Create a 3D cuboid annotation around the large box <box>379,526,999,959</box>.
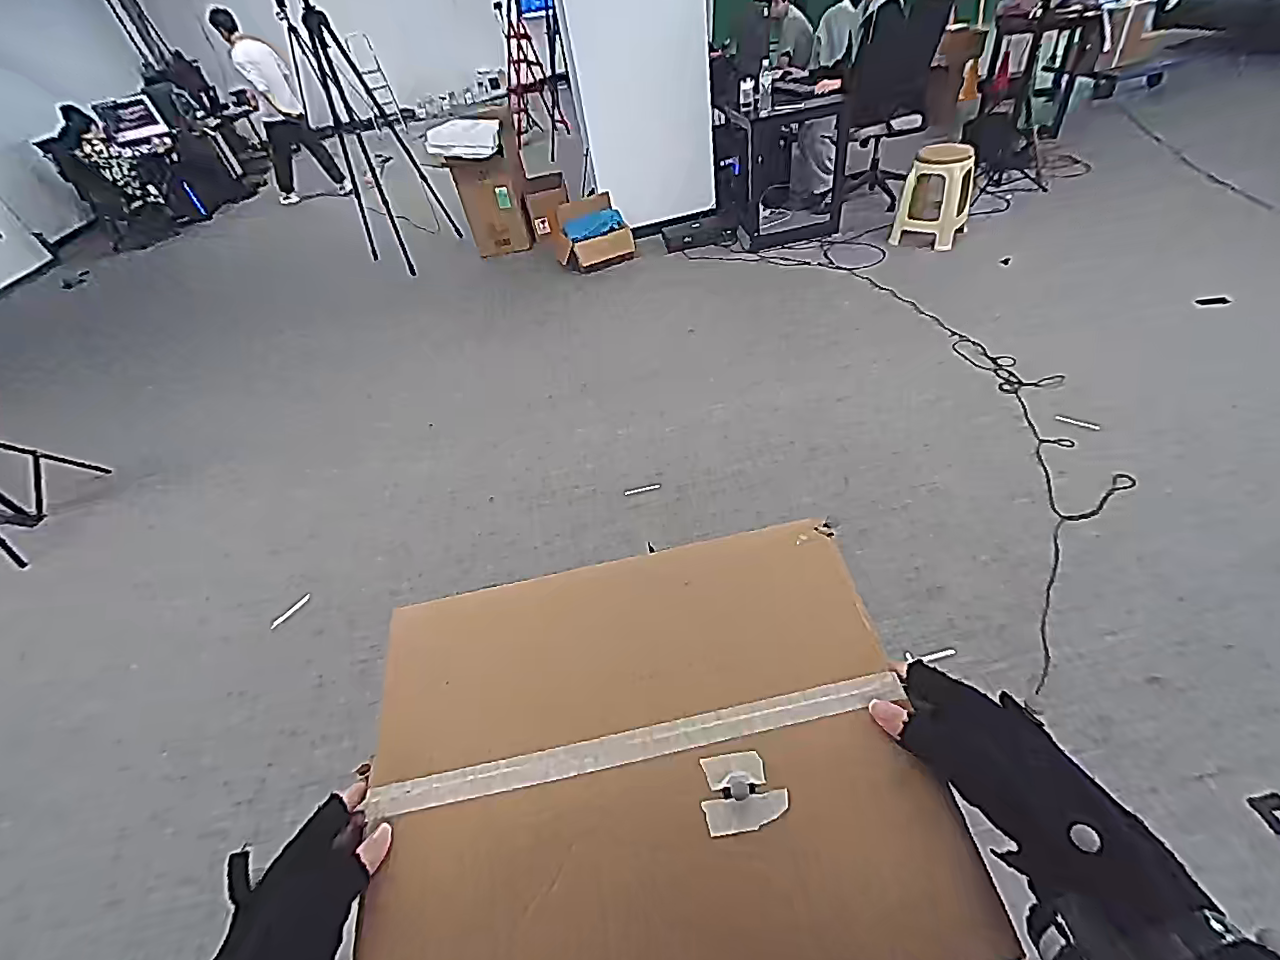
[{"bbox_3d":[0.019,0.294,0.534,0.408,0.320,0.320,-12,53,-1],"label":"large box"}]
